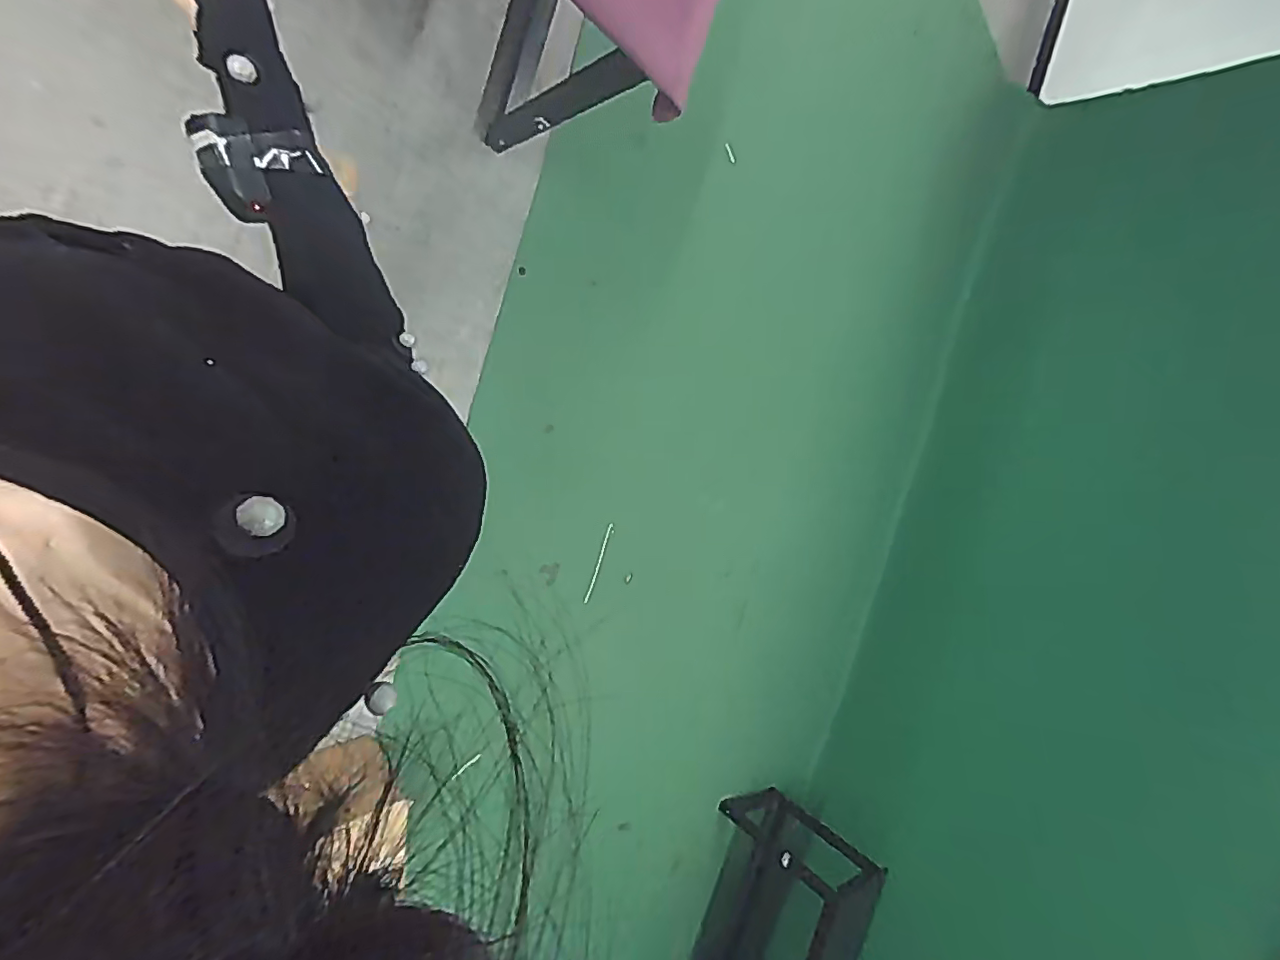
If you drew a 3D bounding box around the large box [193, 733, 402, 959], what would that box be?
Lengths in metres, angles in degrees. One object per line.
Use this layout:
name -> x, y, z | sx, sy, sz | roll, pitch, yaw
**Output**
large box -> -0.877, 0.933, 1.395 | 0.408, 0.320, 0.320 | -3, 106, -43
